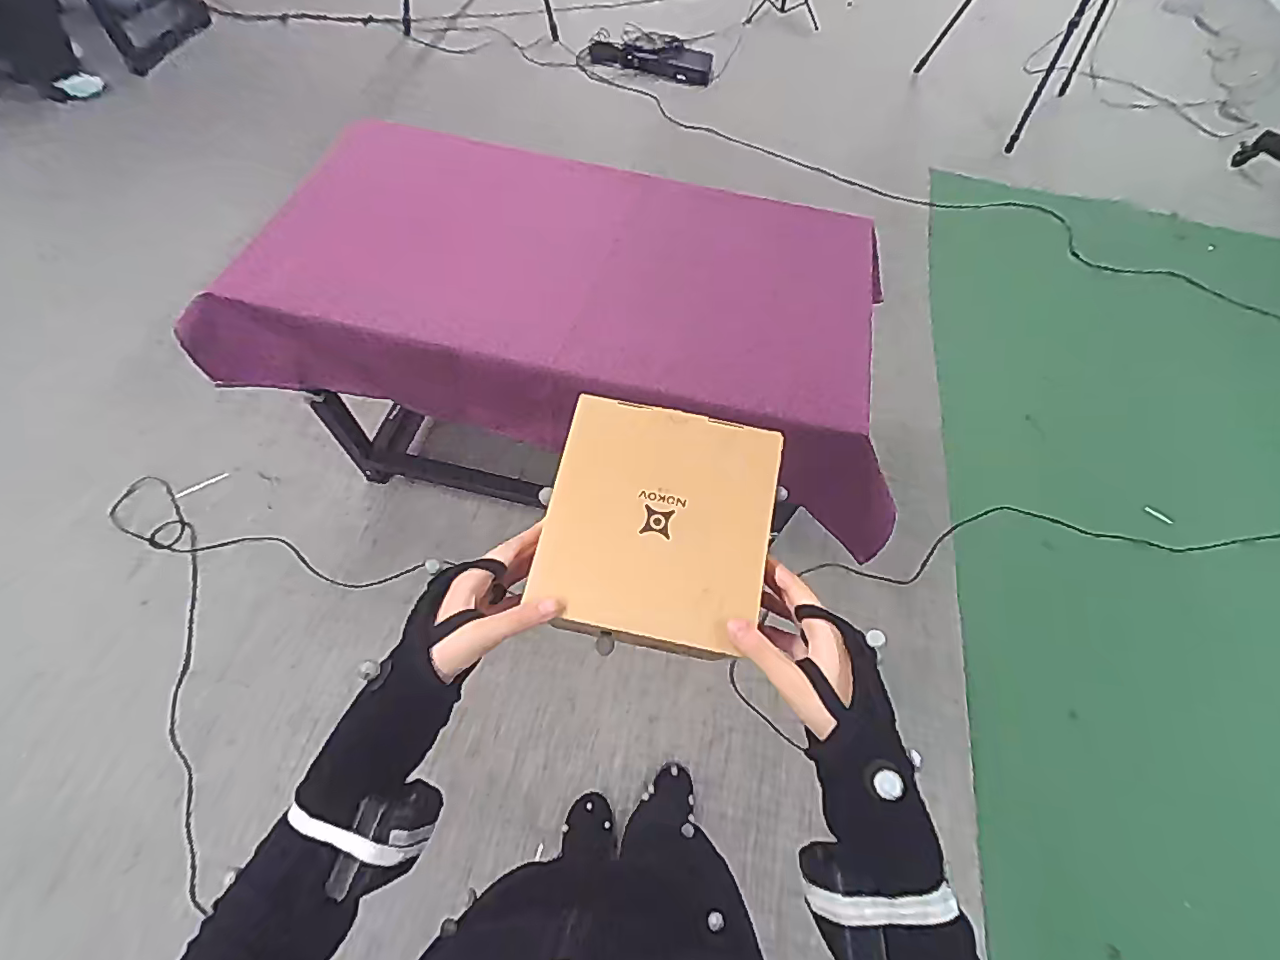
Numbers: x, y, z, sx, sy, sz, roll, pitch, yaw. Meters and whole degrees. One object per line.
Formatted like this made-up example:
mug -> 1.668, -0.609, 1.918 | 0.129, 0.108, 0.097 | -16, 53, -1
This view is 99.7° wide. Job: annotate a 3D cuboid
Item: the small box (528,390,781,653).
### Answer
small box -> 0.015, 0.049, 0.482 | 0.168, 0.176, 0.179 | 11, 69, 3
